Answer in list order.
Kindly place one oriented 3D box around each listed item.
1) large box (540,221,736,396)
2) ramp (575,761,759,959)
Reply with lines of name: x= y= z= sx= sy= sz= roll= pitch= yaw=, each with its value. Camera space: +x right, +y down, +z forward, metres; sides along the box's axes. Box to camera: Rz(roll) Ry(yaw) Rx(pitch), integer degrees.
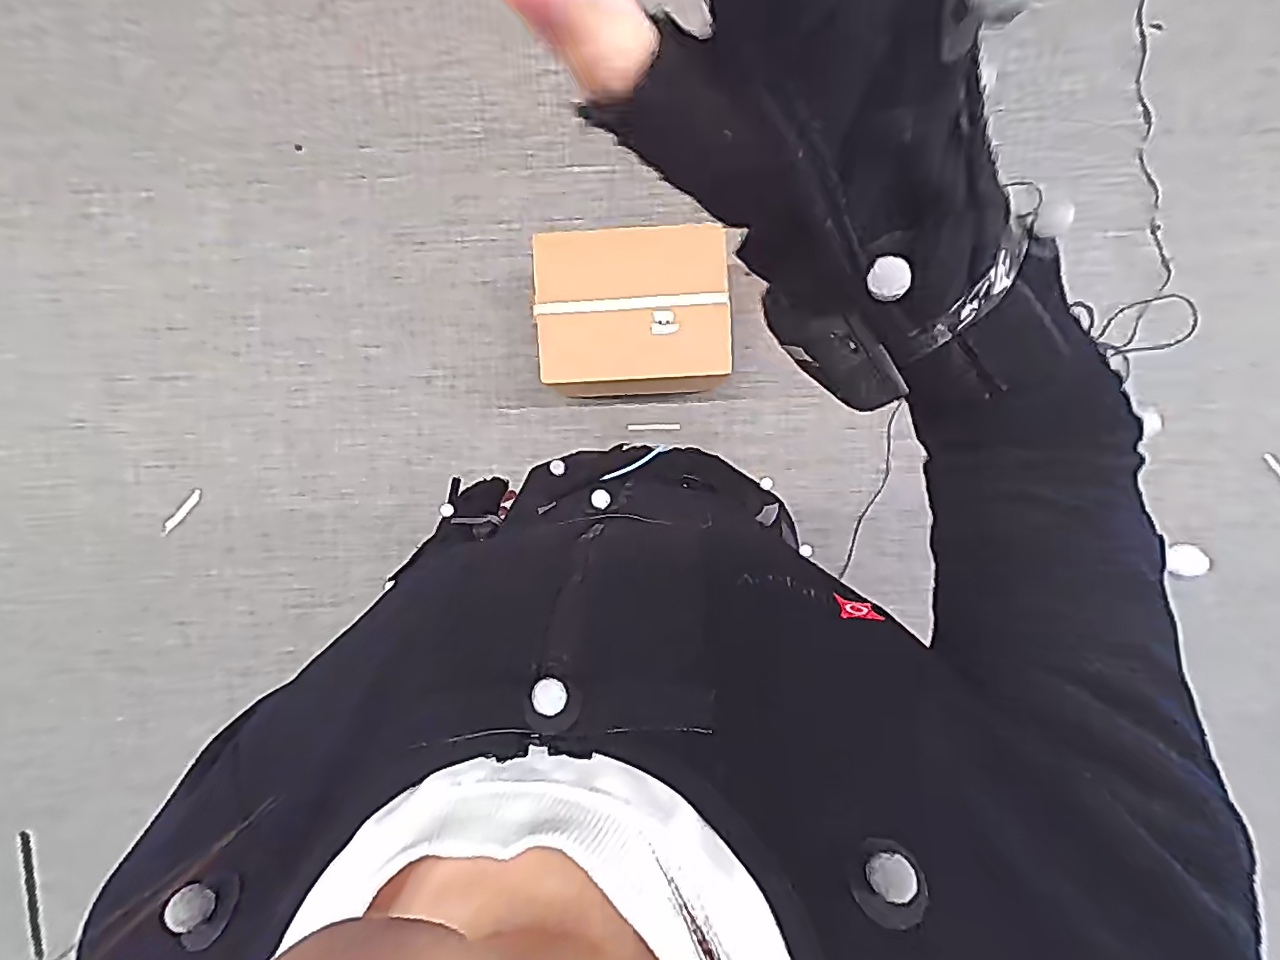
large box: x=-0.002 y=-0.380 z=1.281 sx=0.408 sy=0.320 sz=0.320 roll=-3 pitch=93 yaw=2
ramp: x=0.068 y=1.278 z=1.429 sx=0.509 sy=0.206 sz=0.991 roll=0 pitch=93 yaw=4
